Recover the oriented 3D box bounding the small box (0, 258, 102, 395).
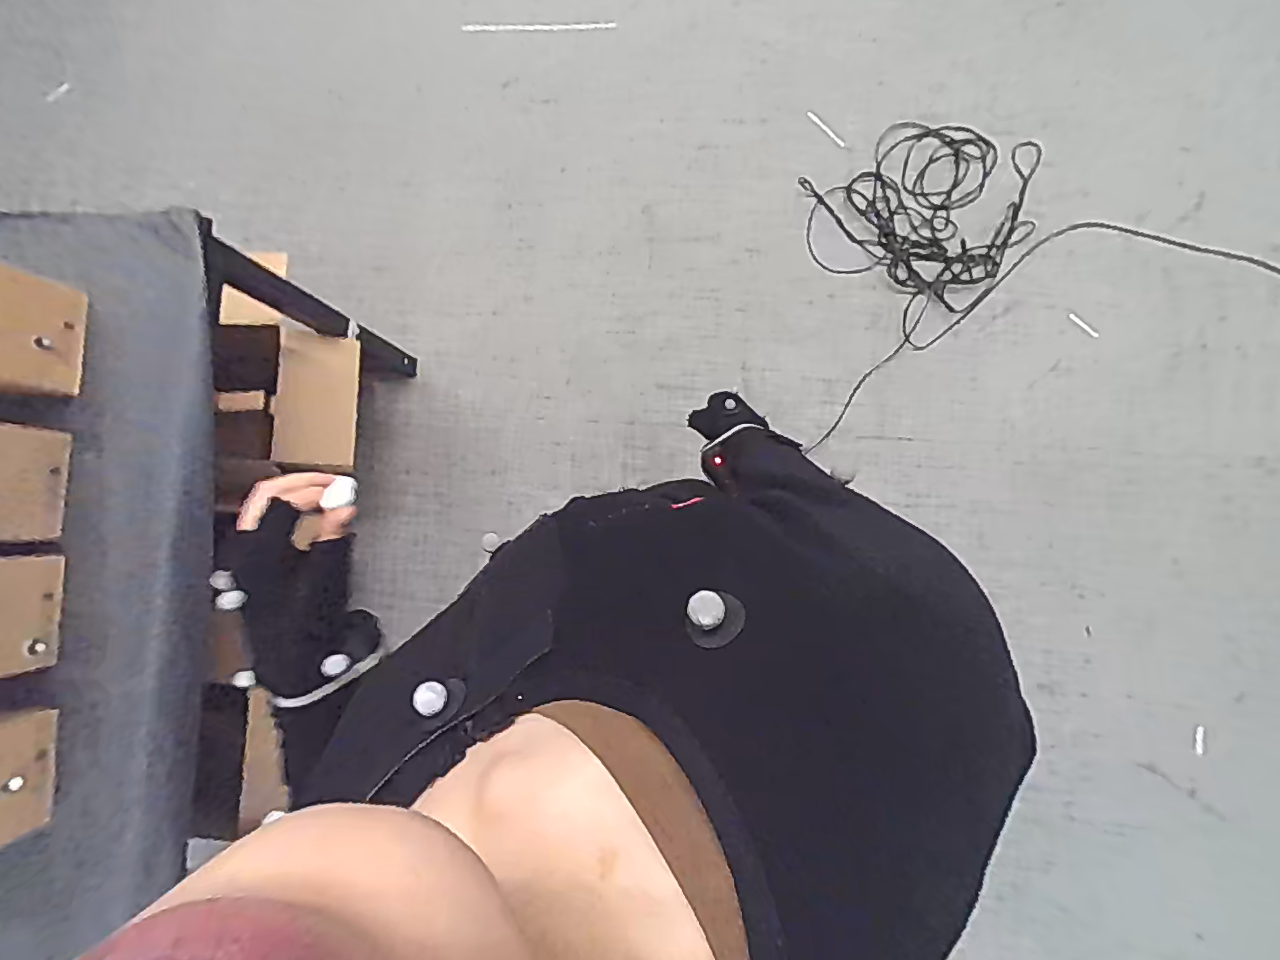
[{"bbox_3d":[-0.959,-0.221,0.790,0.179,0.176,0.168,1,87,5],"label":"small box"}]
